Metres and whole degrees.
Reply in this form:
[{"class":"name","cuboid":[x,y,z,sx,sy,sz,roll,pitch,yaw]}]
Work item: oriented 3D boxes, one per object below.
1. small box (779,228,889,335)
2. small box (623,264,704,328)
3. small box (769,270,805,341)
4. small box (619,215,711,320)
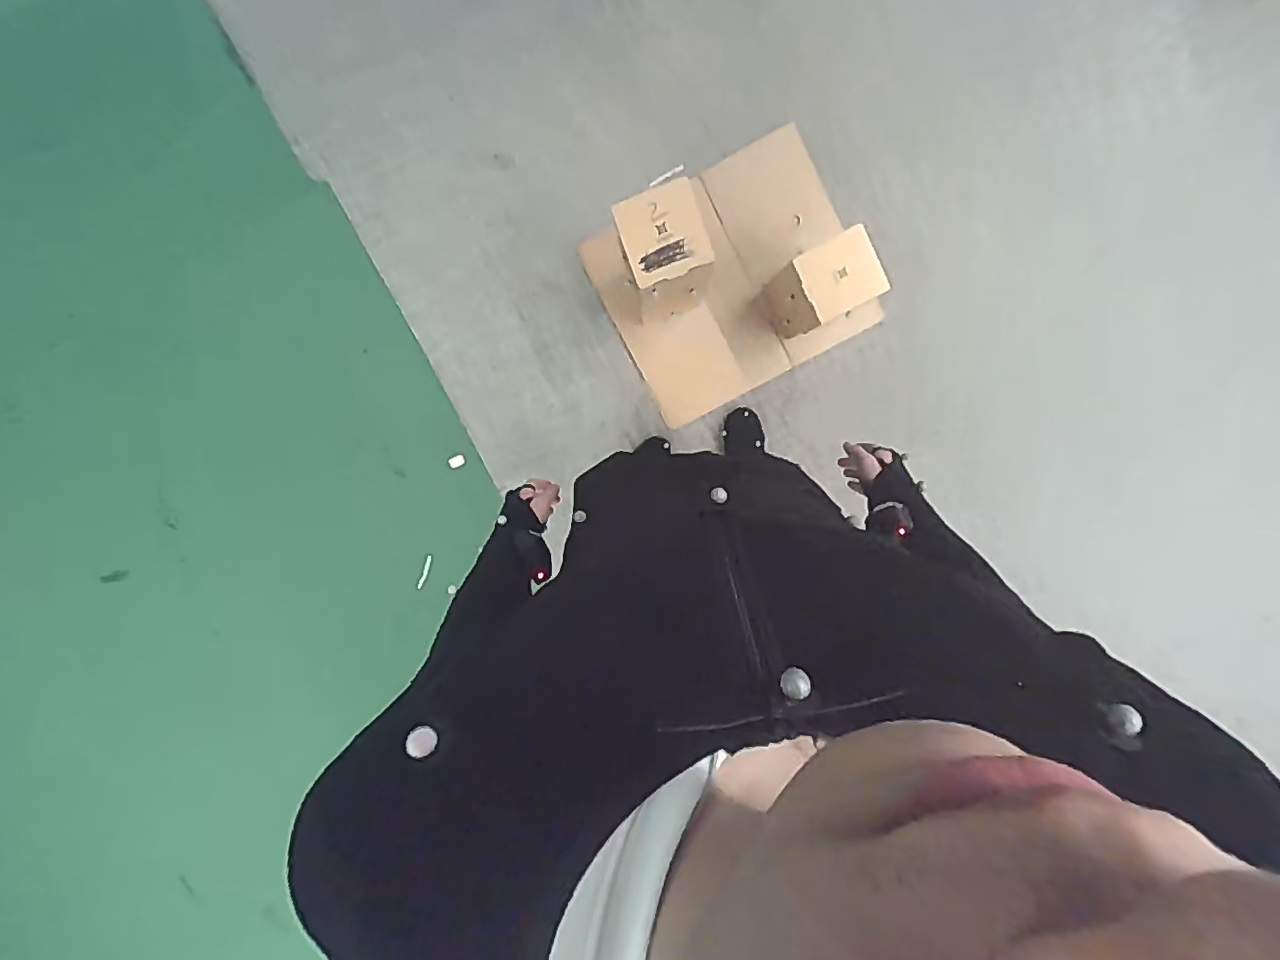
[{"class":"small box","cuboid":[0.461,-0.471,1.309,0.179,0.176,0.168,-28,95,7]},{"class":"small box","cuboid":[0.062,-0.532,1.483,0.179,0.176,0.168,-19,95,5]},{"class":"small box","cuboid":[0.466,-0.496,1.469,0.179,0.176,0.168,-27,95,6]},{"class":"small box","cuboid":[0.060,-0.509,1.318,0.179,0.176,0.168,-20,95,5]}]
